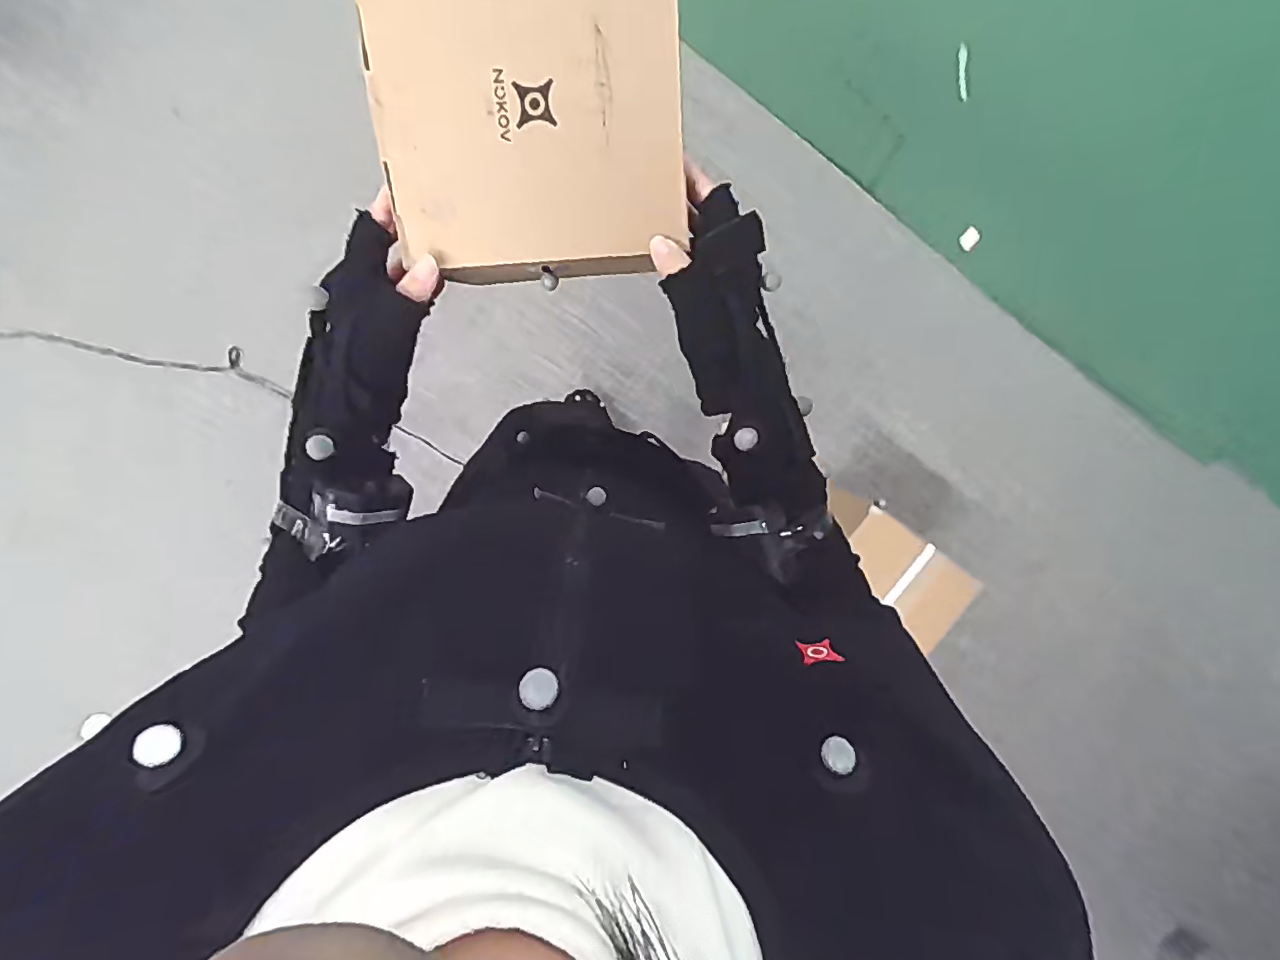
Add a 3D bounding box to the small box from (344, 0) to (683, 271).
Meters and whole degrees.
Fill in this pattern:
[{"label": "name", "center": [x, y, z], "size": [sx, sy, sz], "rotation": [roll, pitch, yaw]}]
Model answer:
[{"label": "small box", "center": [-0.067, -0.245, 0.377], "size": [0.179, 0.176, 0.168], "rotation": [-7, 109, 2]}]
